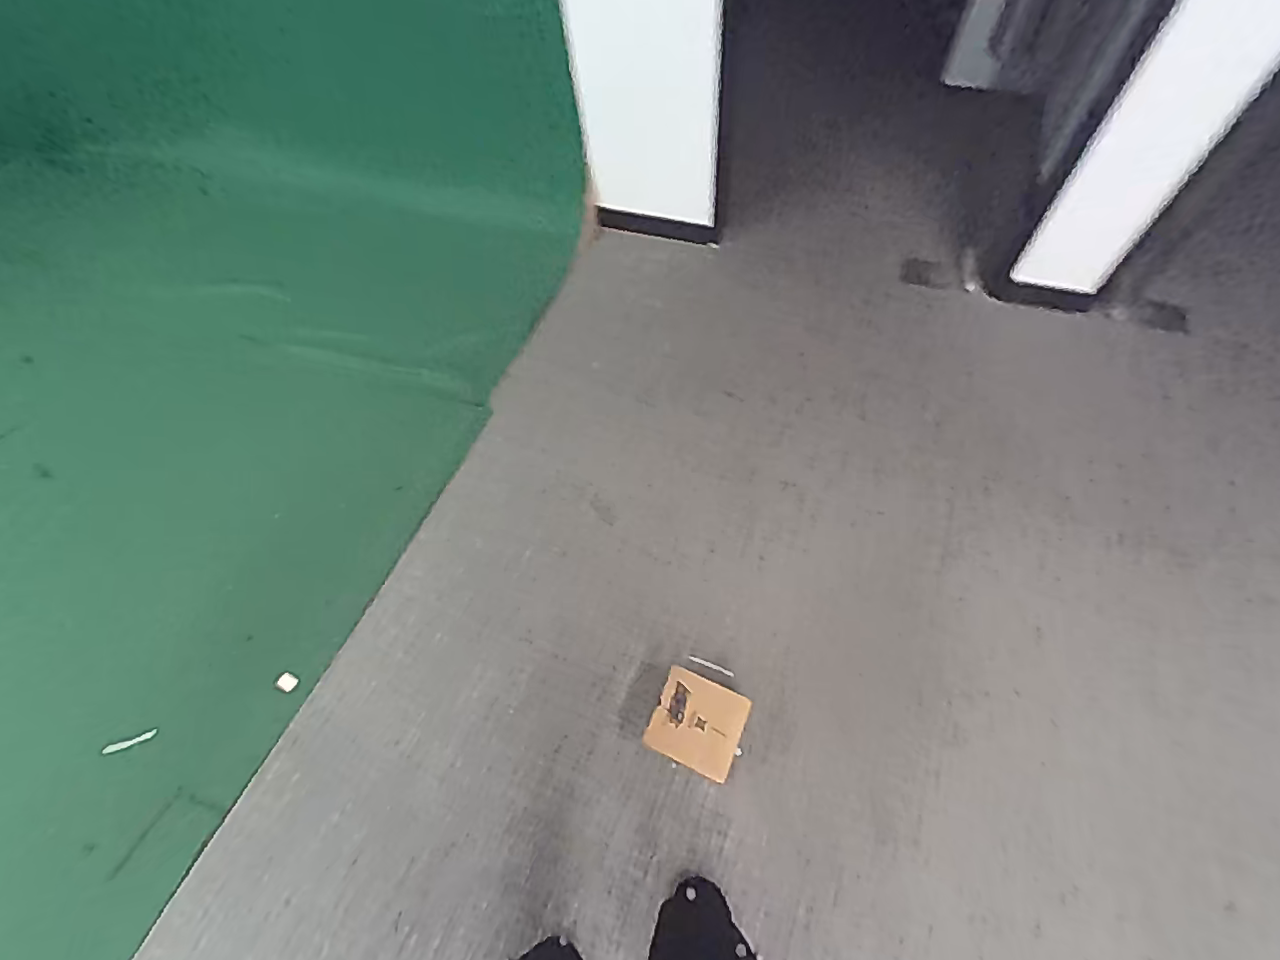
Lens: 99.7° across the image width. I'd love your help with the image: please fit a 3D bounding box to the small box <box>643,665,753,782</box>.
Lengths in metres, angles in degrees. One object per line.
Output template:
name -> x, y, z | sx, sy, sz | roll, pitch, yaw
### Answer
small box -> 0.123, 0.522, 1.146 | 0.179, 0.176, 0.168 | 21, 64, 16
